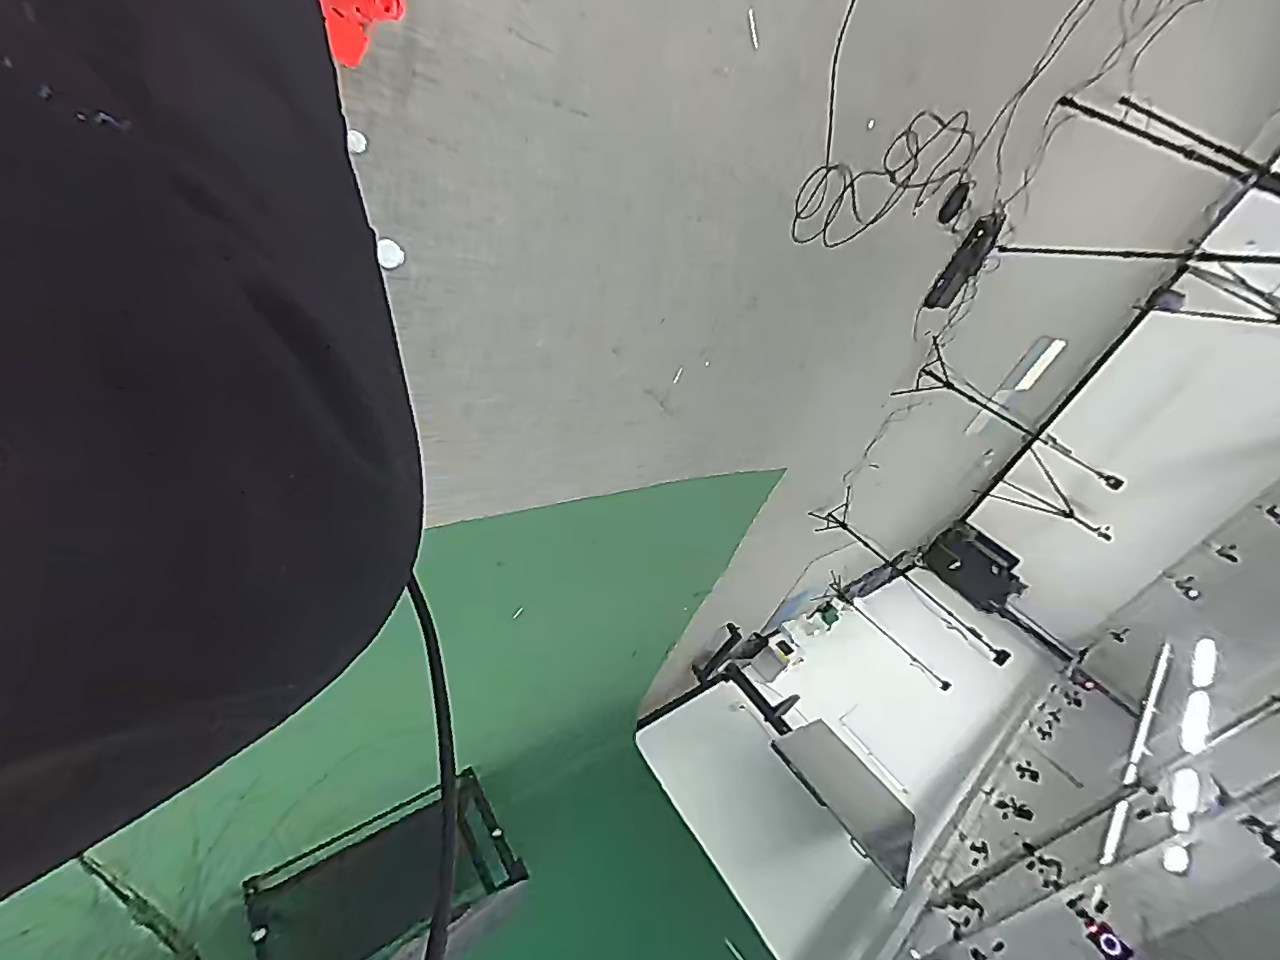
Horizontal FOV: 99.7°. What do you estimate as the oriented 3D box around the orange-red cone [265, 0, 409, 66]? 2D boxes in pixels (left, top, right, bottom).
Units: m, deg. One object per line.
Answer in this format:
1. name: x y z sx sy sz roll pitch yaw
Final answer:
1. orange-red cone: -0.425 -0.742 0.810 0.198 0.360 0.199 -53 147 15
